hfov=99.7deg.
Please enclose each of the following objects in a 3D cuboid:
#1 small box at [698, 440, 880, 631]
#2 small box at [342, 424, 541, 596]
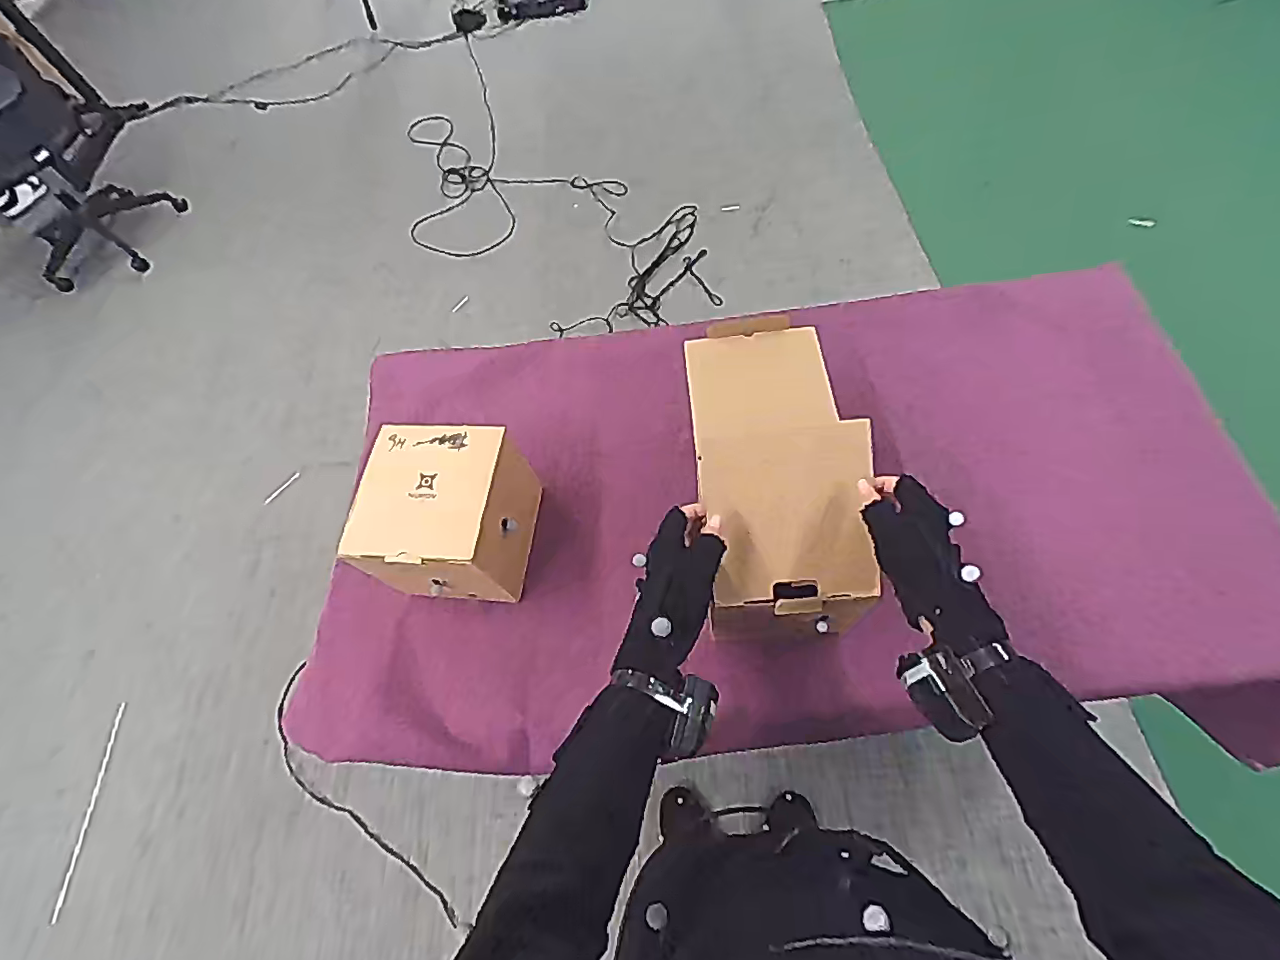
[{"bbox_3d":[0.159,0.075,0.632,0.168,0.176,0.179,-5,62,5],"label":"small box"},{"bbox_3d":[-0.239,0.045,0.703,0.168,0.176,0.179,2,64,9],"label":"small box"}]
